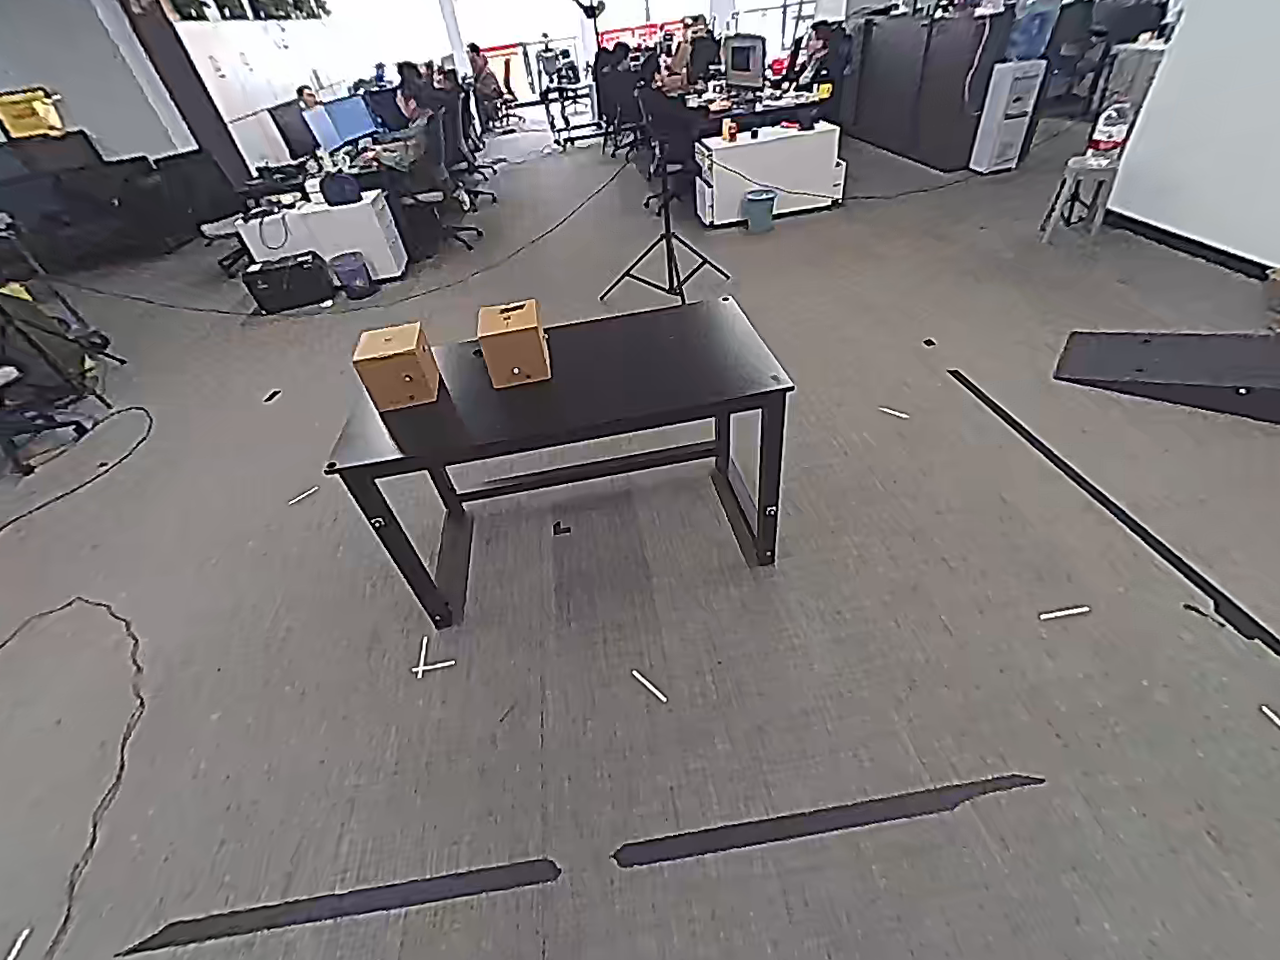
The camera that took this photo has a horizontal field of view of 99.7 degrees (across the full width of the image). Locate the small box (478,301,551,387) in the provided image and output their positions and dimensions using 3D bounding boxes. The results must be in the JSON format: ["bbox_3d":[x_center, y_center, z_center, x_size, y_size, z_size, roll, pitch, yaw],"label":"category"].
[{"bbox_3d":[-0.357,-0.392,1.560,0.168,0.176,0.179,-11,42,-3],"label":"small box"}]

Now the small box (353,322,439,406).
[{"bbox_3d":[-0.681,-0.322,1.534,0.168,0.176,0.179,-12,41,-6],"label":"small box"}]
